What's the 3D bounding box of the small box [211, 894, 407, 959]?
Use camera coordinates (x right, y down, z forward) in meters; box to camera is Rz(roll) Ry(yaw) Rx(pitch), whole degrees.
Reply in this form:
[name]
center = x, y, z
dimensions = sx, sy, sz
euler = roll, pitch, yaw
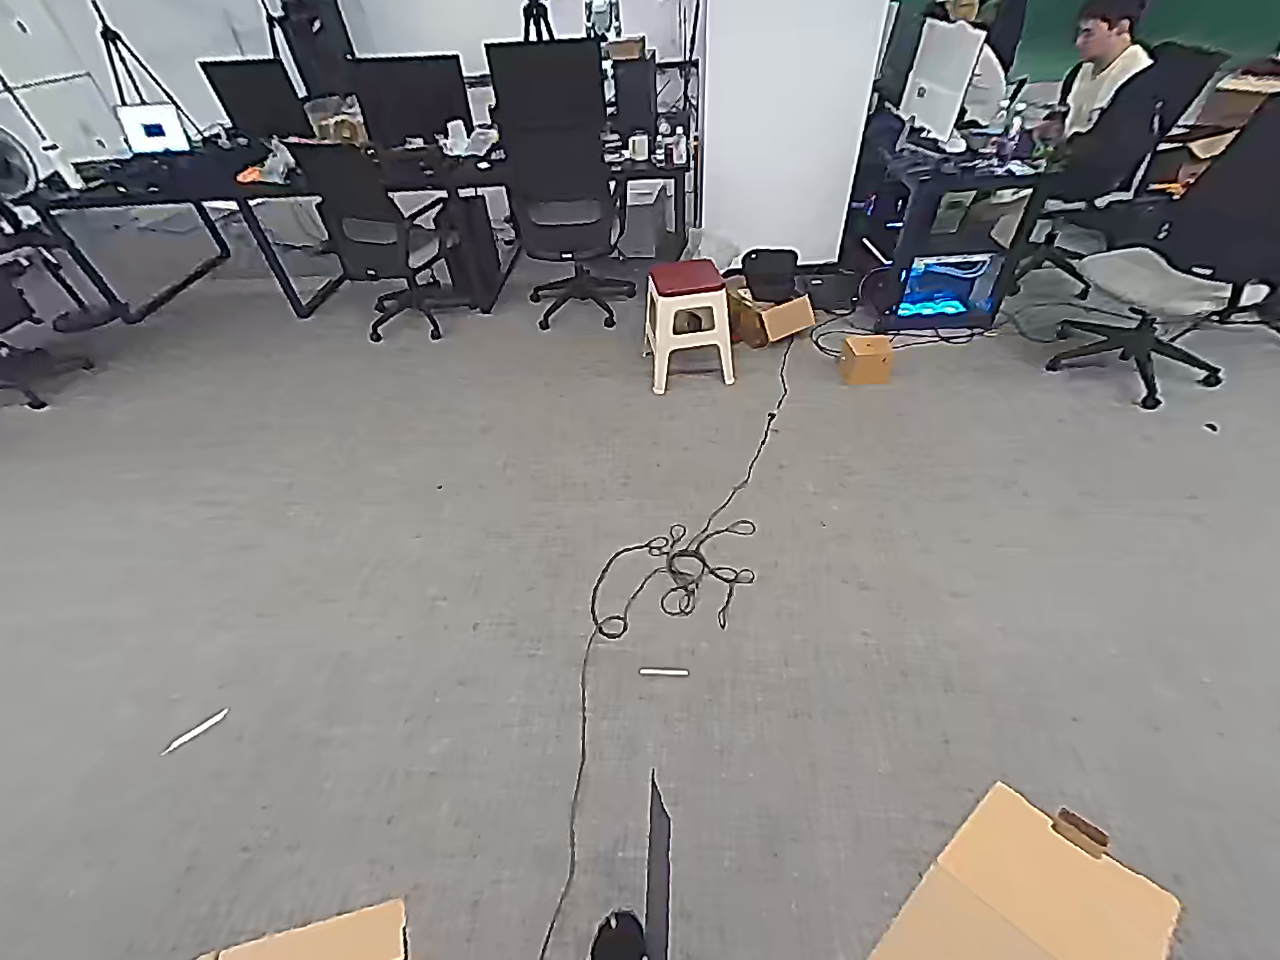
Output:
[small box]
center = -0.342, 0.578, 0.552
dimensions = 0.179, 0.176, 0.168
euler = 6, 31, -32
